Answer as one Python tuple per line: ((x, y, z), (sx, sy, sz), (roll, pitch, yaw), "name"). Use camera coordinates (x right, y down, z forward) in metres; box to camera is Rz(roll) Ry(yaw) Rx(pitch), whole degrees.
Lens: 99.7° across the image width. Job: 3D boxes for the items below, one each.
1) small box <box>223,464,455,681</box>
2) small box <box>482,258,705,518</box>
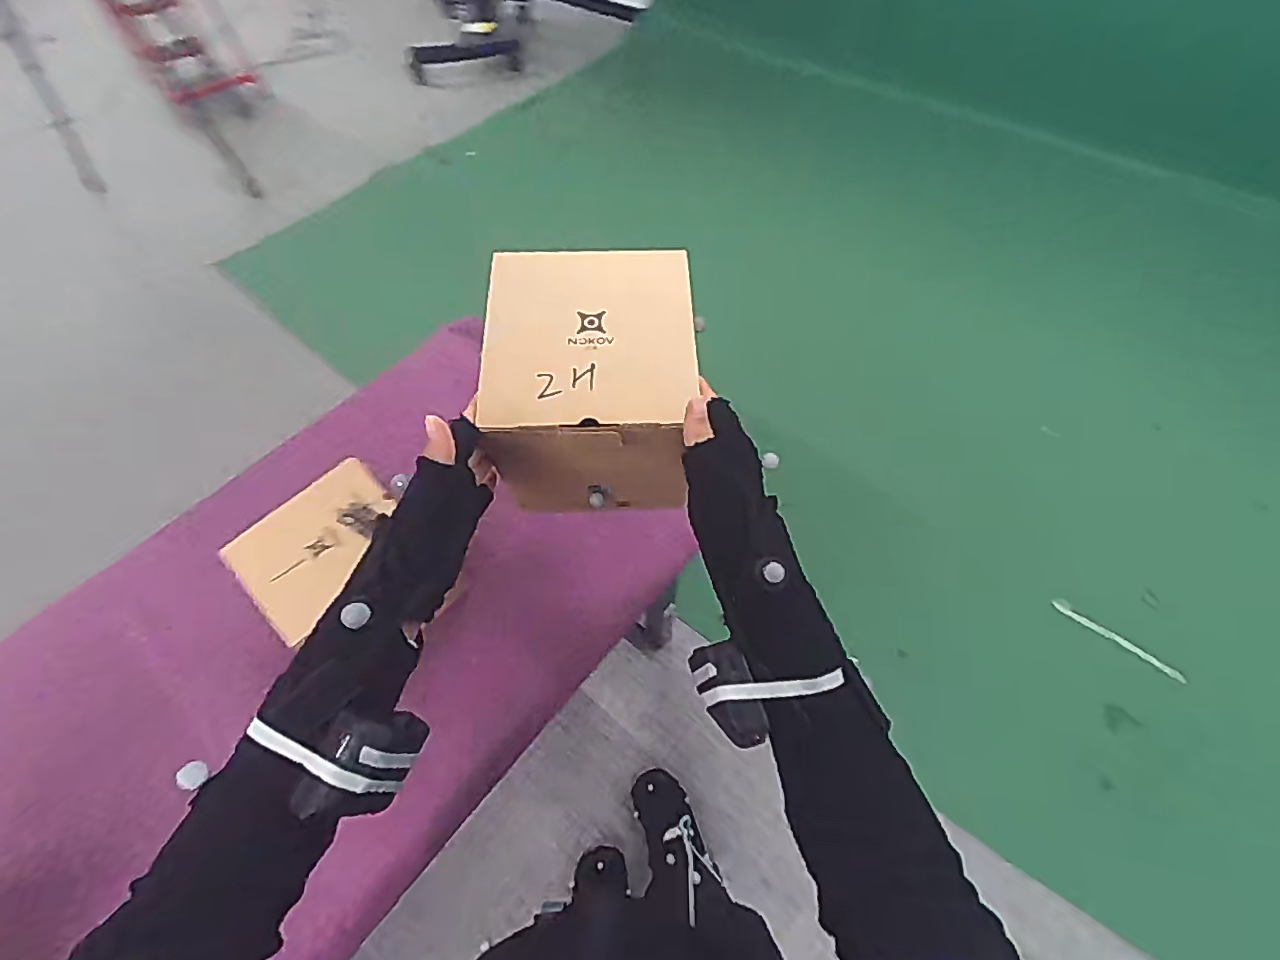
((-0.357, 0.119, 0.681), (0.179, 0.176, 0.168), (-40, 63, -21), "small box")
((-0.035, -0.076, 0.498), (0.168, 0.176, 0.179), (-1, 66, 0), "small box")
